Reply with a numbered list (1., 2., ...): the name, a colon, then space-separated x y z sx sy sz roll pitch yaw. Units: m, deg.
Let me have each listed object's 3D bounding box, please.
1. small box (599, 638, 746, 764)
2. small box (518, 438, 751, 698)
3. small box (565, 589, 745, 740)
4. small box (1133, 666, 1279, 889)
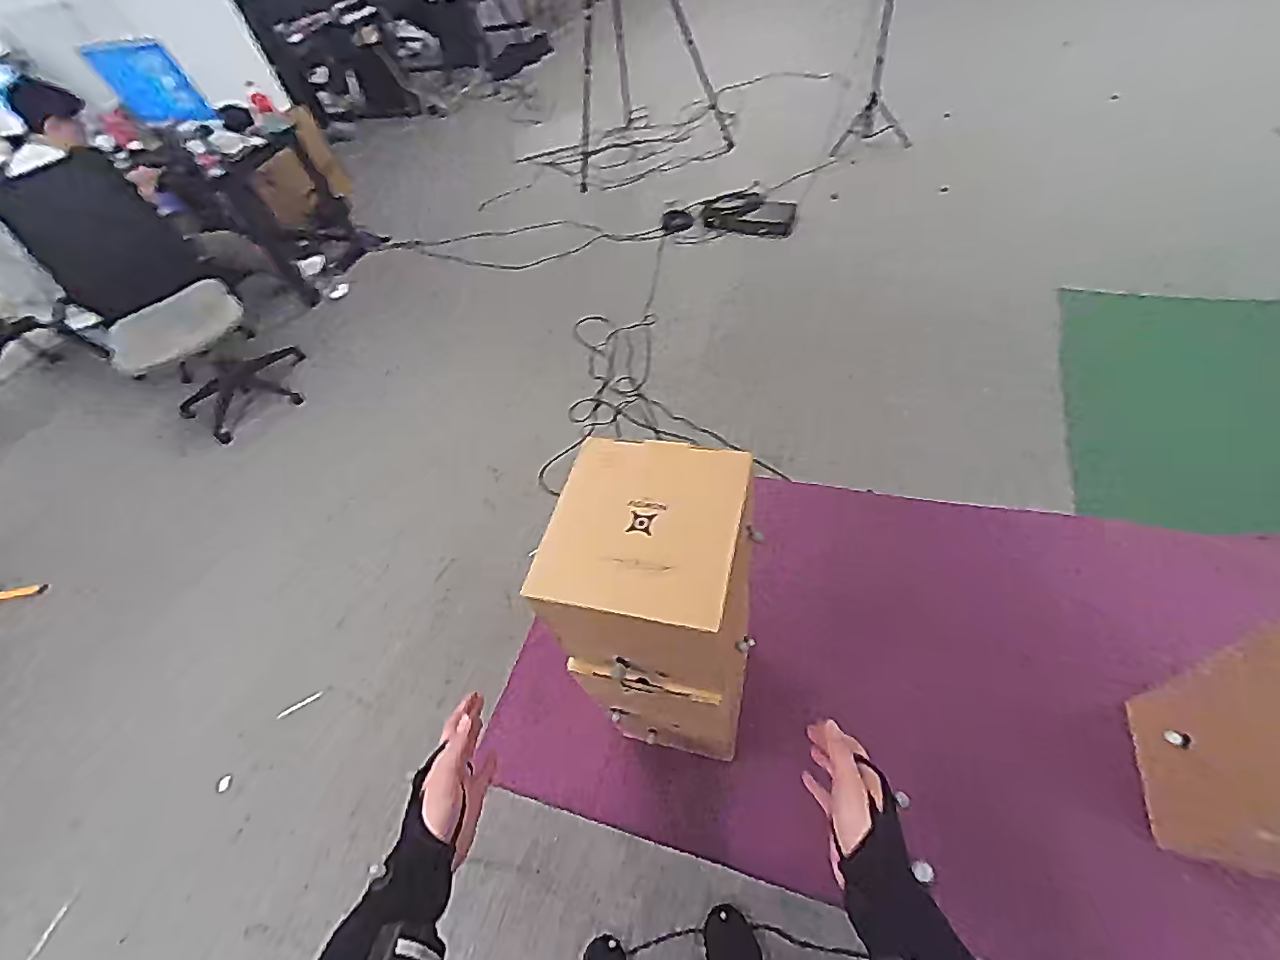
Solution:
1. small box: 0.059 0.287 0.776 0.168 0.176 0.179 6 54 16
2. small box: 0.011 0.085 0.523 0.168 0.176 0.179 7 54 17
3. small box: 0.033 0.189 0.647 0.168 0.176 0.179 7 53 16
4. small box: 0.703 0.338 0.603 0.168 0.176 0.179 7 53 18
